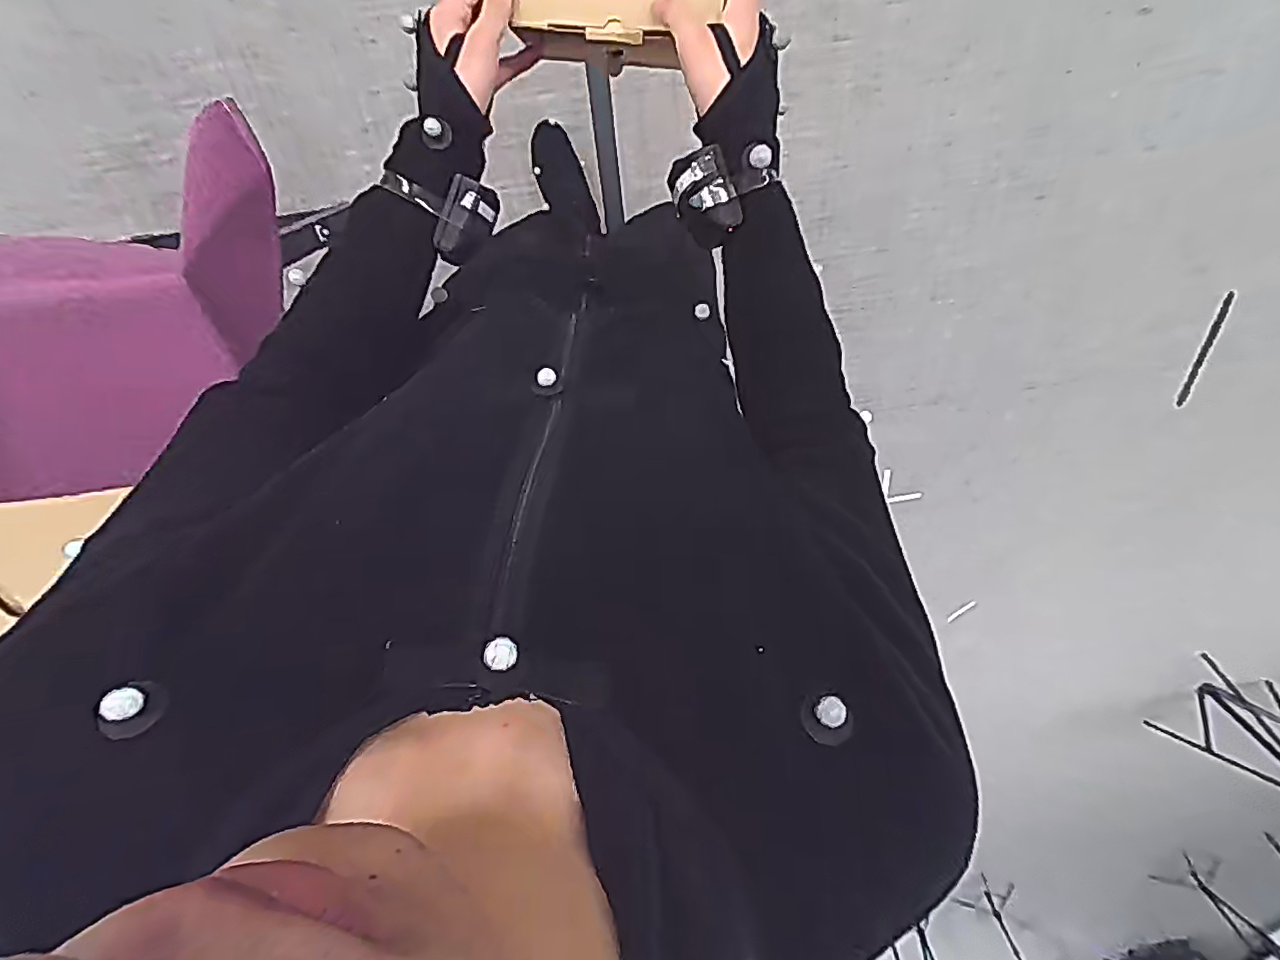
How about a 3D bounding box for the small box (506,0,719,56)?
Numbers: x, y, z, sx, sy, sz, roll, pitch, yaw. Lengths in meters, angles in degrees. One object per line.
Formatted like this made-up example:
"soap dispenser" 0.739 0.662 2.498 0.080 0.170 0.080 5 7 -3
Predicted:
"small box" -0.016 -0.469 0.441 0.168 0.176 0.179 2 122 -3
